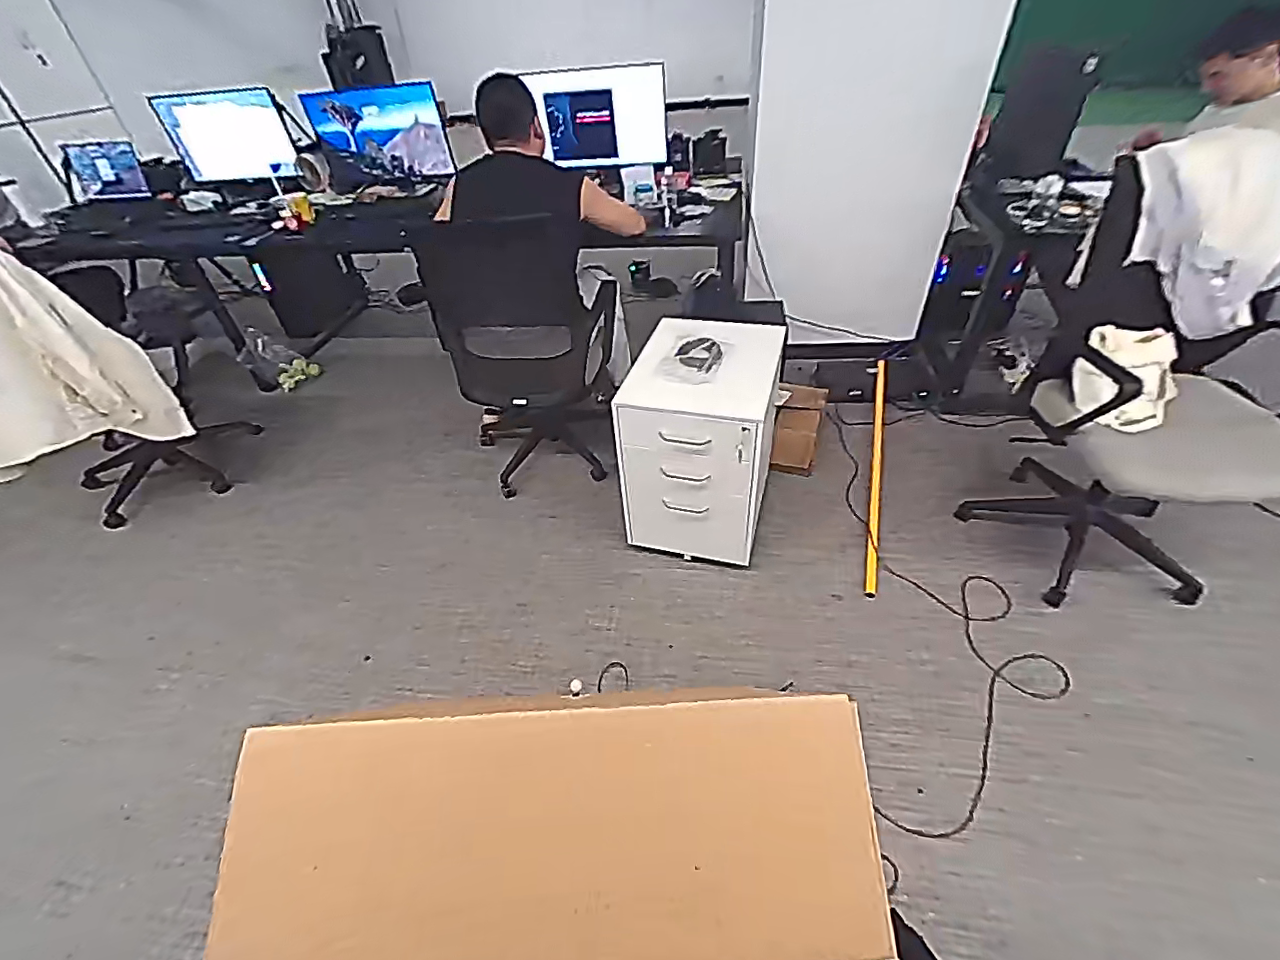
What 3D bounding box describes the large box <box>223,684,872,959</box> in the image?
[{"bbox_3d":[-0.054,0.360,0.466,0.408,0.320,0.320,-3,71,-2],"label":"large box"}]
